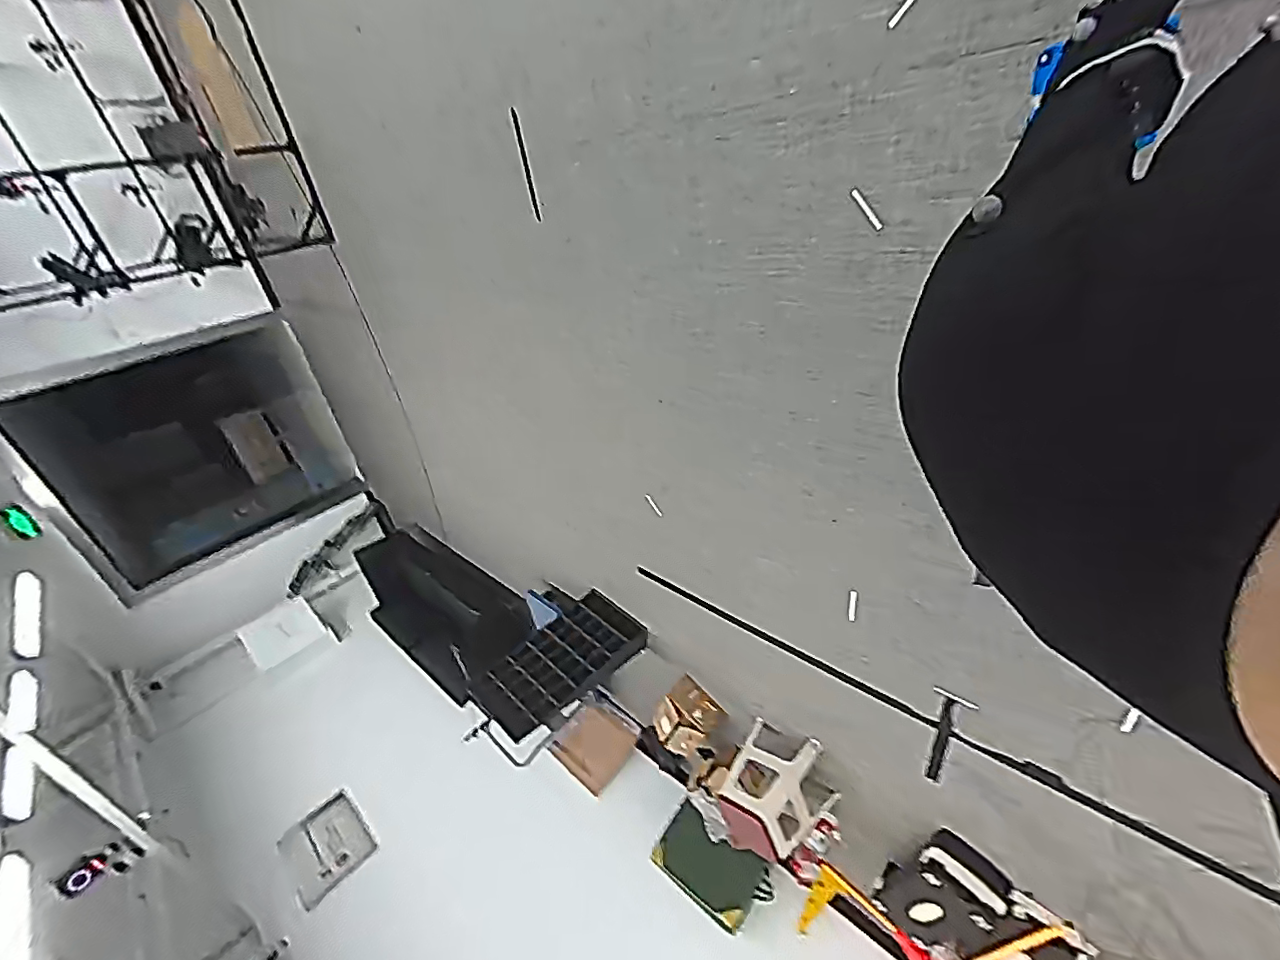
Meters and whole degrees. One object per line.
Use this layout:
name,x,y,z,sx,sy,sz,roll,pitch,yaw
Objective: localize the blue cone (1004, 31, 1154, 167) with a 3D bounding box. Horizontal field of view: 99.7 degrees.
blue cone,0.712,-0.634,0.921,0.192,0.380,0.193,18,130,43
